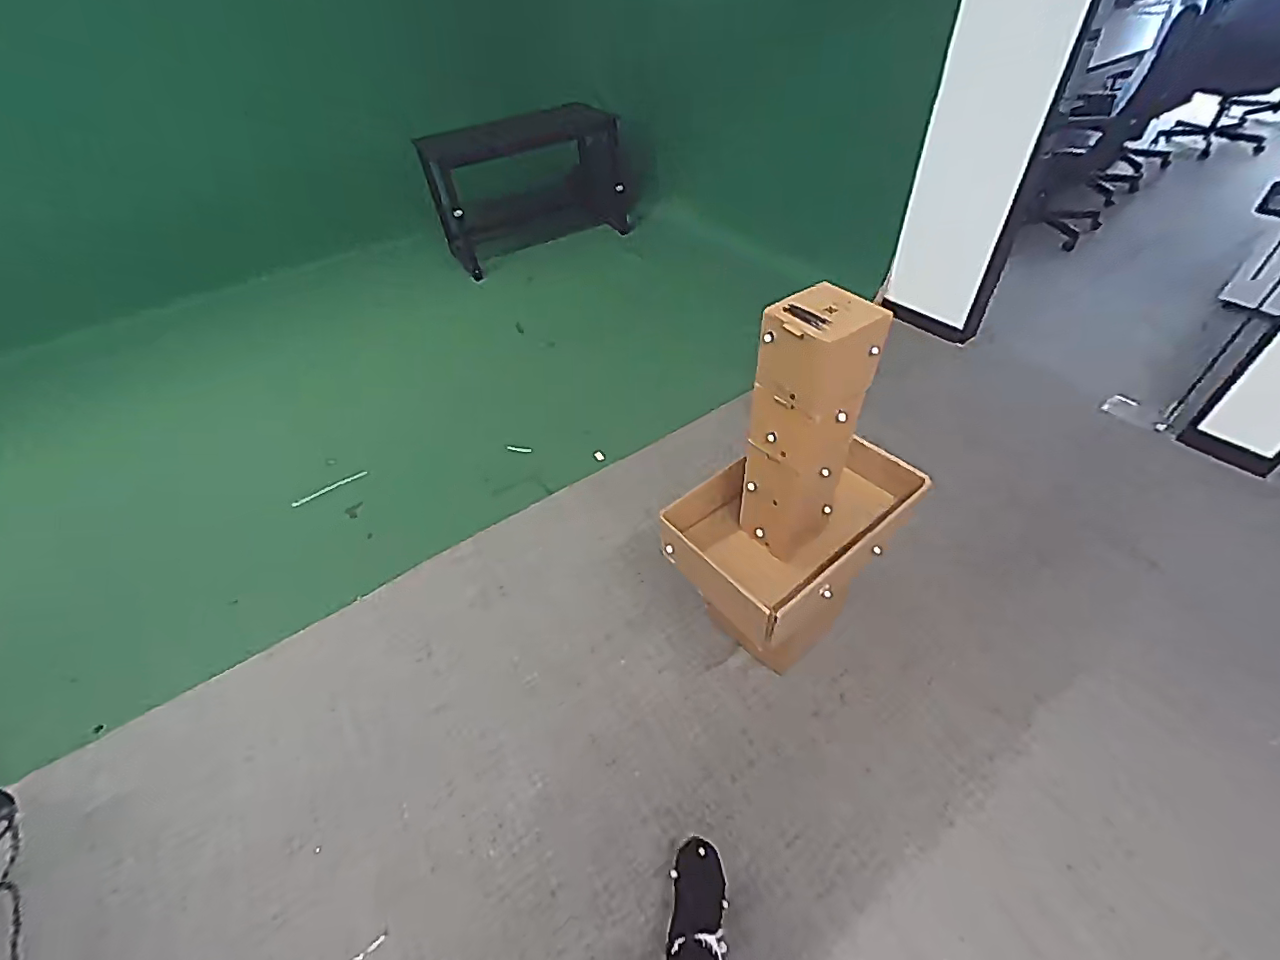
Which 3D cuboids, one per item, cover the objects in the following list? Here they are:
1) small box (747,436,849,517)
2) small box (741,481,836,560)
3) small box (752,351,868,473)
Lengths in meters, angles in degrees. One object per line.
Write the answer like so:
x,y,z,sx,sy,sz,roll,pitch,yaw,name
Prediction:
0.375,-0.040,1.315,0.179,0.176,0.168,-32,51,-26,small box
0.383,0.074,1.430,0.179,0.176,0.168,-30,50,-24,small box
0.364,-0.150,1.196,0.179,0.176,0.168,-33,53,-25,small box
